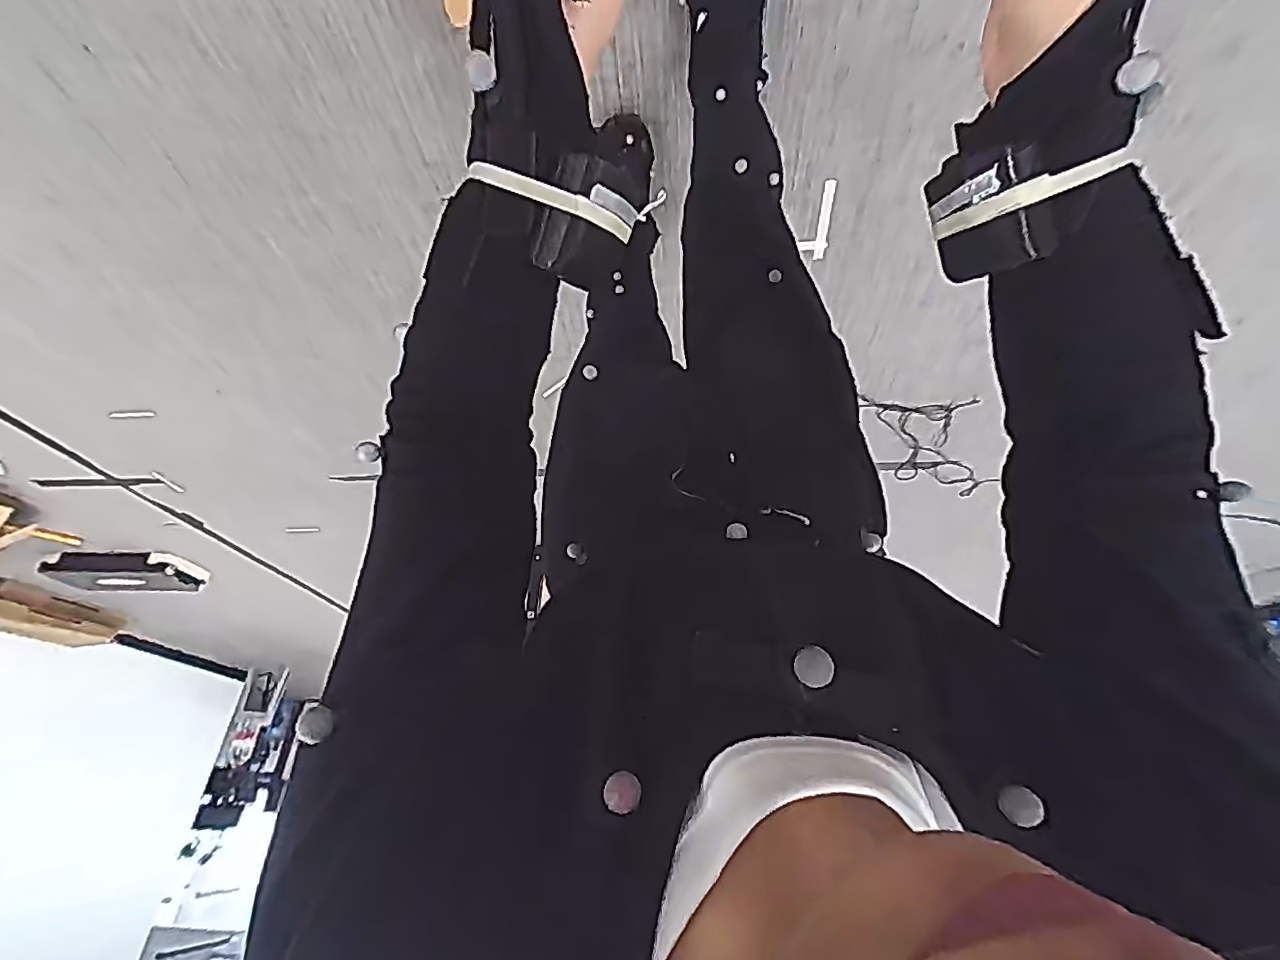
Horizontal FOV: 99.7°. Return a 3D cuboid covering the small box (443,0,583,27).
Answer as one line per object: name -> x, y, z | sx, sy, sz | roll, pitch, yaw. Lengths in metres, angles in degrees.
small box -> -0.168, -0.707, 0.672 | 0.179, 0.176, 0.168 | -2, 149, 6
